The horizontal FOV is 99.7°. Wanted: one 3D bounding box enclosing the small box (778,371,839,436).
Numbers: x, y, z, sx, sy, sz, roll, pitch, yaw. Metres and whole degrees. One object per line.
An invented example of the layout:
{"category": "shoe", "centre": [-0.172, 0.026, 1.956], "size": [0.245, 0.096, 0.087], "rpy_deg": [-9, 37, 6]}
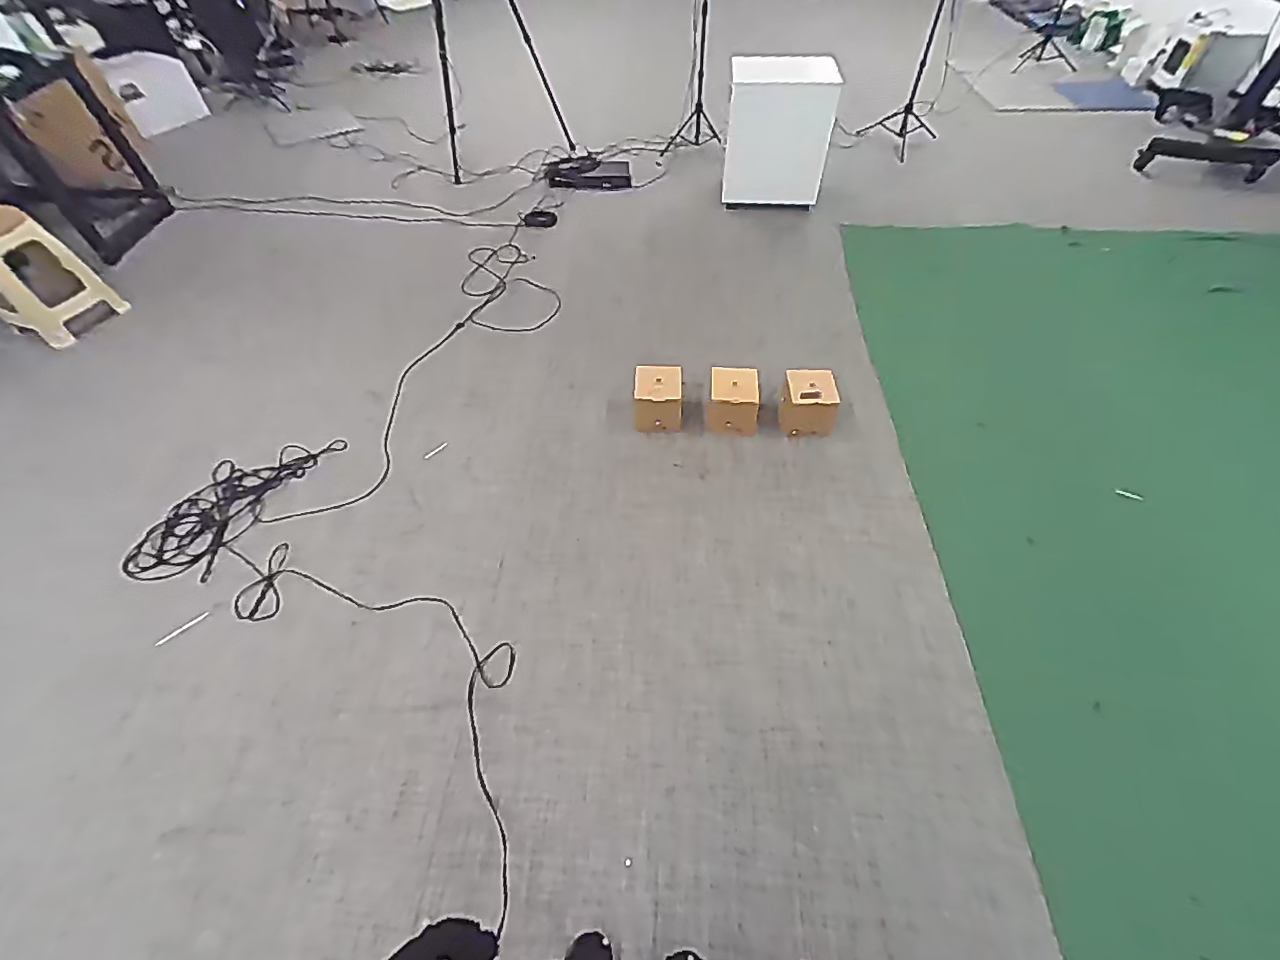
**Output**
{"category": "small box", "centre": [0.603, -0.274, 1.956], "size": [0.168, 0.176, 0.179], "rpy_deg": [1, 52, 2]}

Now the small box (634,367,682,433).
{"category": "small box", "centre": [0.066, -0.294, 1.978], "size": [0.168, 0.176, 0.179], "rpy_deg": [1, 53, 3]}

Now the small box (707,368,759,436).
{"category": "small box", "centre": [0.334, -0.283, 1.969], "size": [0.168, 0.176, 0.179], "rpy_deg": [3, 53, 3]}
